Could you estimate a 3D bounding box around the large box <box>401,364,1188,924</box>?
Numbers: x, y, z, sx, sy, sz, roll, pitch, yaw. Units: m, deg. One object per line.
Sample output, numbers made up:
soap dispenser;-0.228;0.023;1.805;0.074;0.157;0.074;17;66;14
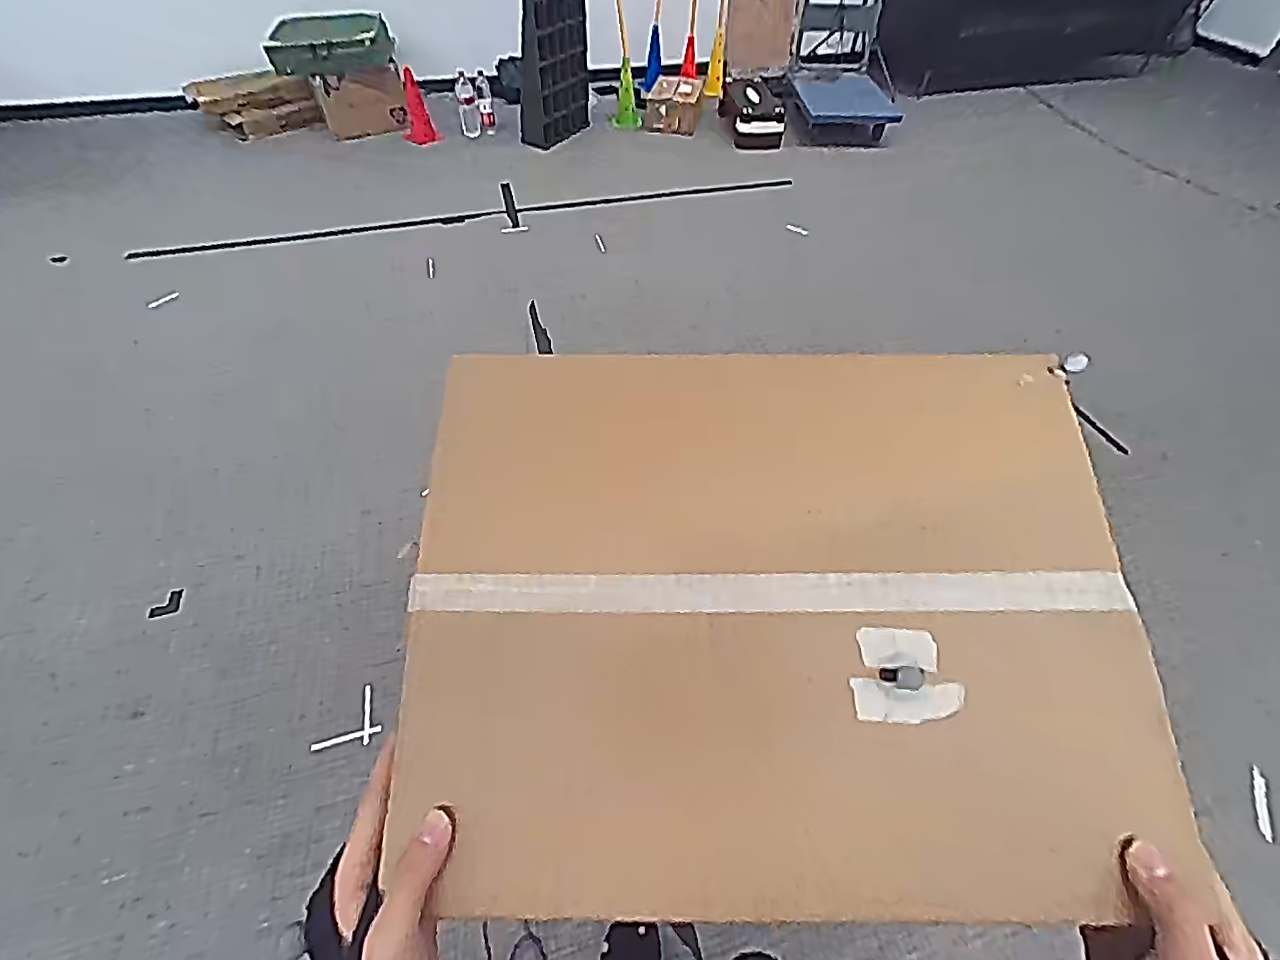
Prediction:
large box;0.072;0.119;0.457;0.408;0.320;0.320;-1;71;-1
